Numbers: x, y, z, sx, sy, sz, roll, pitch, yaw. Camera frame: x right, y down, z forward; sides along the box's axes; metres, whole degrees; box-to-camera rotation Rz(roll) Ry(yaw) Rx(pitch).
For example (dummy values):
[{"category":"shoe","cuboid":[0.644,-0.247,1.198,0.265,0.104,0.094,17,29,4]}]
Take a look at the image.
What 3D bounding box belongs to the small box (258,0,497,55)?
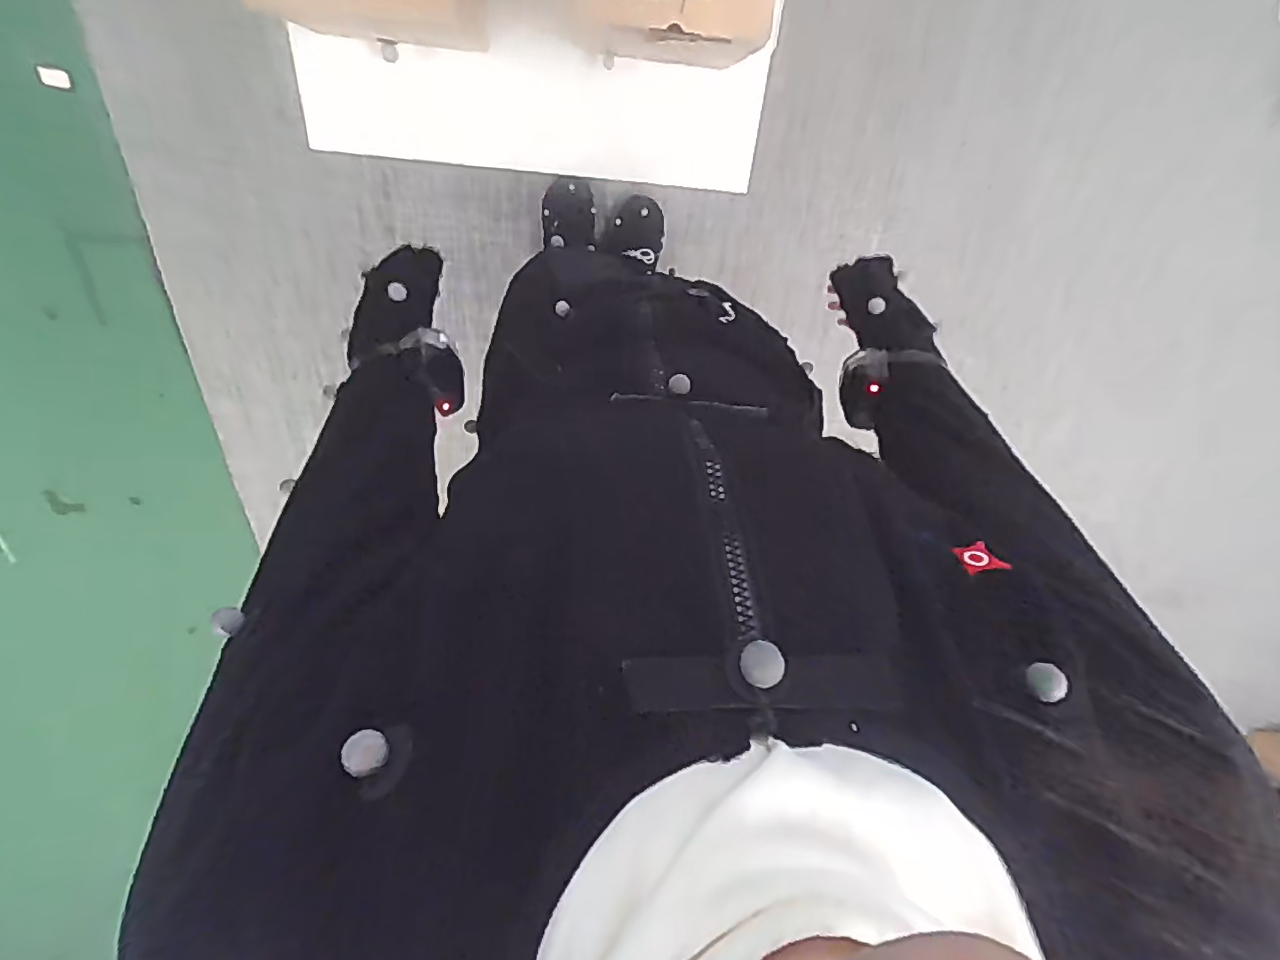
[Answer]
[{"category":"small box","cuboid":[-0.223,-0.487,0.461,0.168,0.176,0.179,0,124,-4]}]
